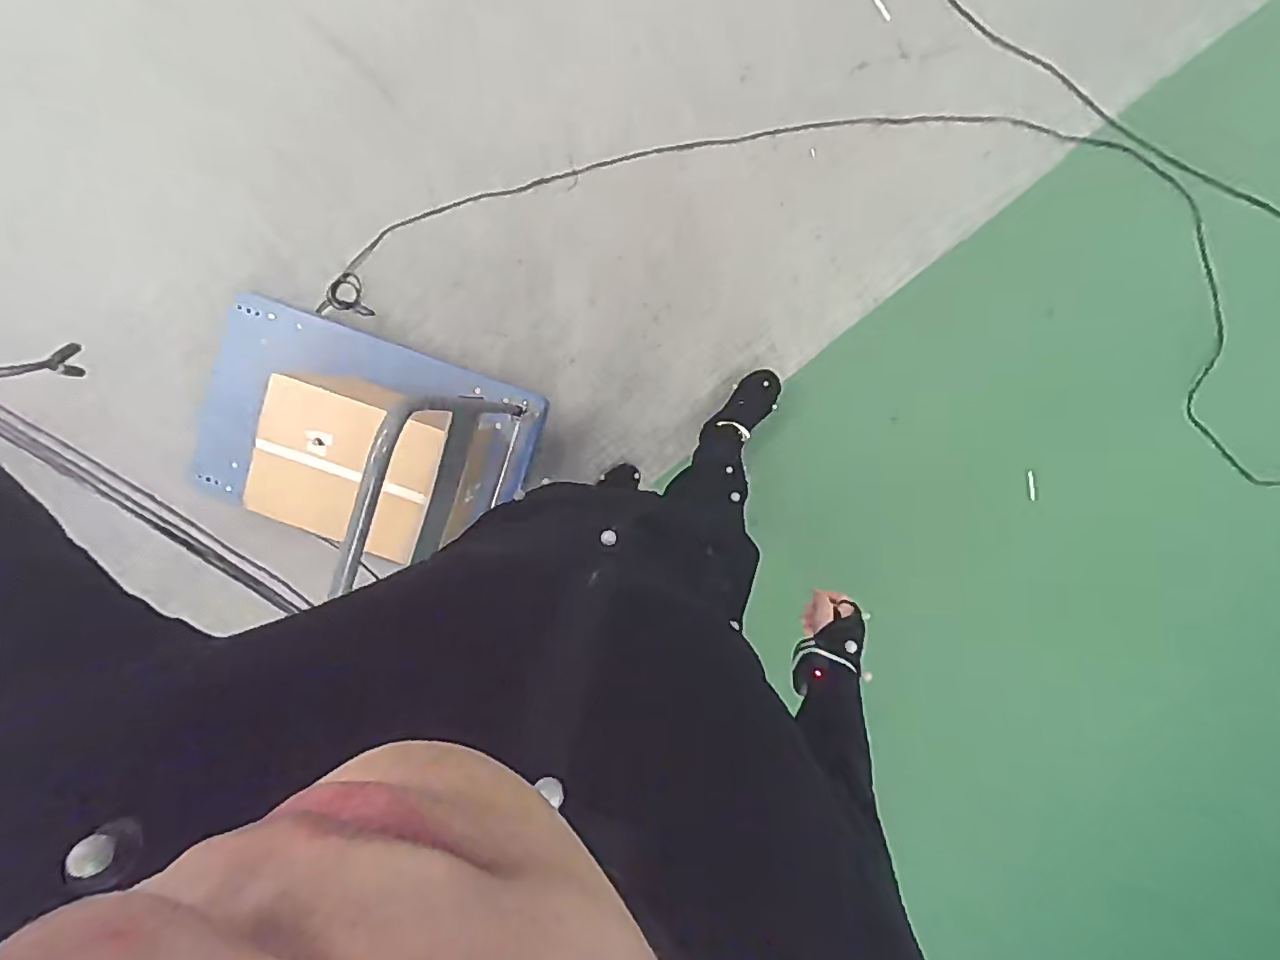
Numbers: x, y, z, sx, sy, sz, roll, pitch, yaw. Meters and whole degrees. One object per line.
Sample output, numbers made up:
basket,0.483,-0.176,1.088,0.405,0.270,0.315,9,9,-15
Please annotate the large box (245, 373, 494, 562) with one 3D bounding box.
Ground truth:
large box,-0.622,-0.045,1.304,0.408,0.320,0.320,19,98,1
